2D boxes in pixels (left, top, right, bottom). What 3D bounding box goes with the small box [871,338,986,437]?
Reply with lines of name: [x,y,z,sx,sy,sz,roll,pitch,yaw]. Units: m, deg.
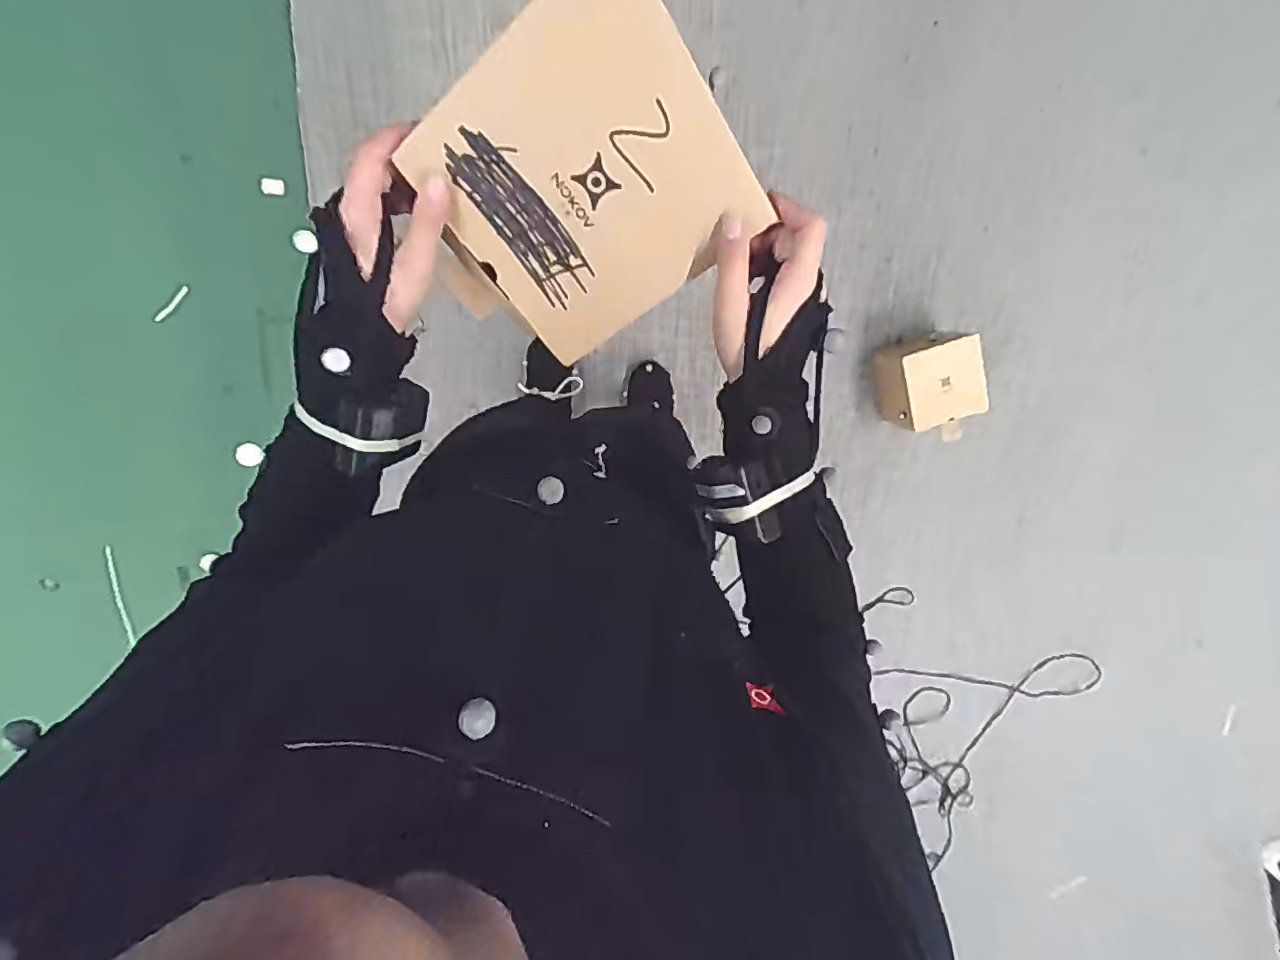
small box: [0.653,-0.219,1.241,0.168,0.176,0.179,-18,107,4]
